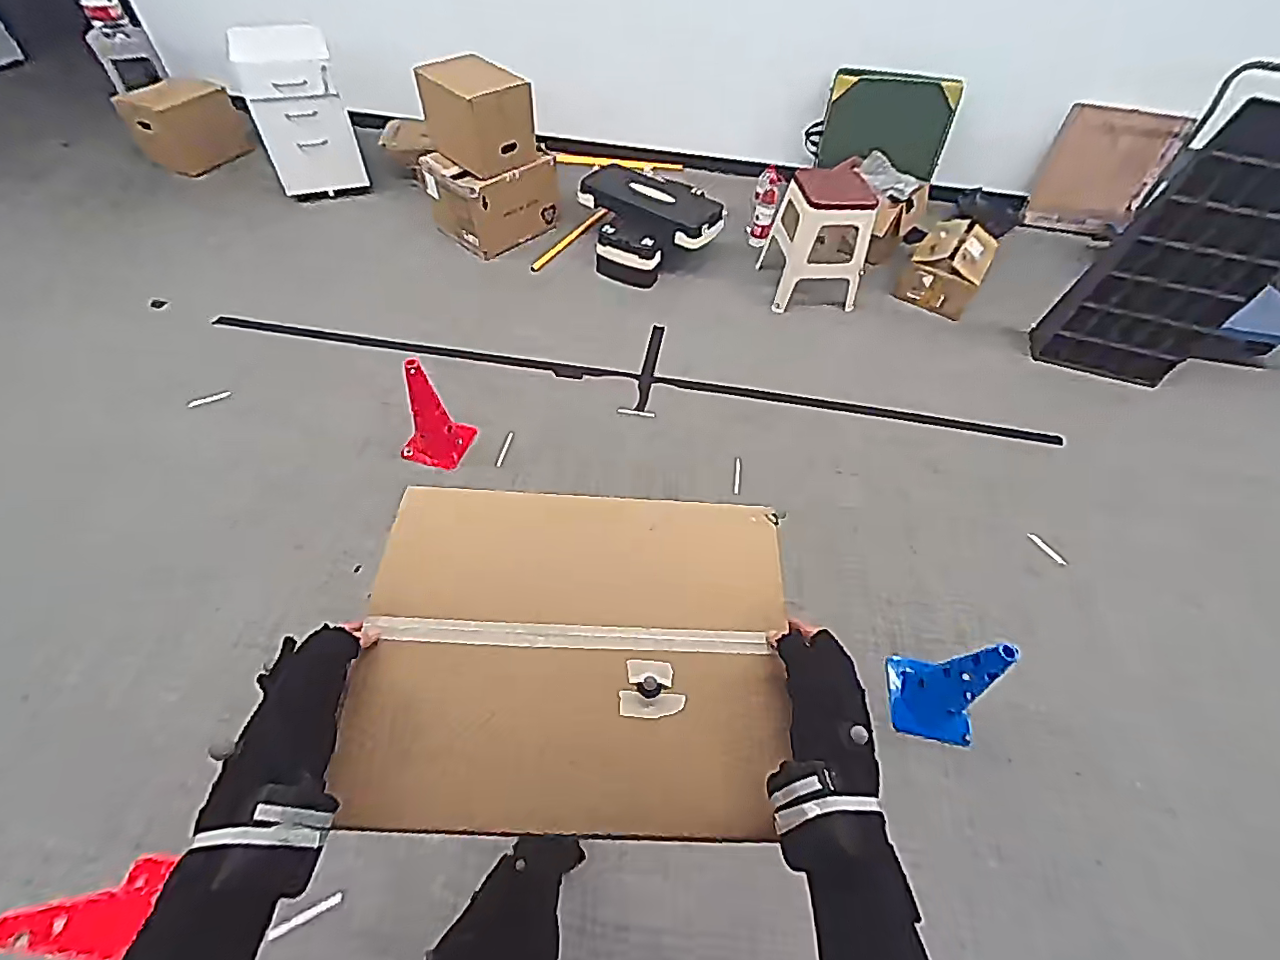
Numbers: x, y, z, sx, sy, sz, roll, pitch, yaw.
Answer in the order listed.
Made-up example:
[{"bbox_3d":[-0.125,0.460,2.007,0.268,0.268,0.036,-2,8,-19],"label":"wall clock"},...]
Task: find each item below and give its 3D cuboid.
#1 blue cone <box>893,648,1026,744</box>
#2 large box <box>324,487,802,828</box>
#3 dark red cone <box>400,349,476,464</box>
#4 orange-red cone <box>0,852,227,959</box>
[{"bbox_3d":[0.779,0.484,1.296,0.192,0.380,0.193,13,53,4],"label":"blue cone"},{"bbox_3d":[-0.069,0.228,0.649,0.408,0.320,0.320,4,57,-3],"label":"large box"},{"bbox_3d":[-0.668,-0.245,1.702,0.201,0.394,0.202,15,53,6],"label":"dark red cone"},{"bbox_3d":[-0.951,0.766,0.935,0.198,0.360,0.199,7,54,2],"label":"orange-red cone"}]
